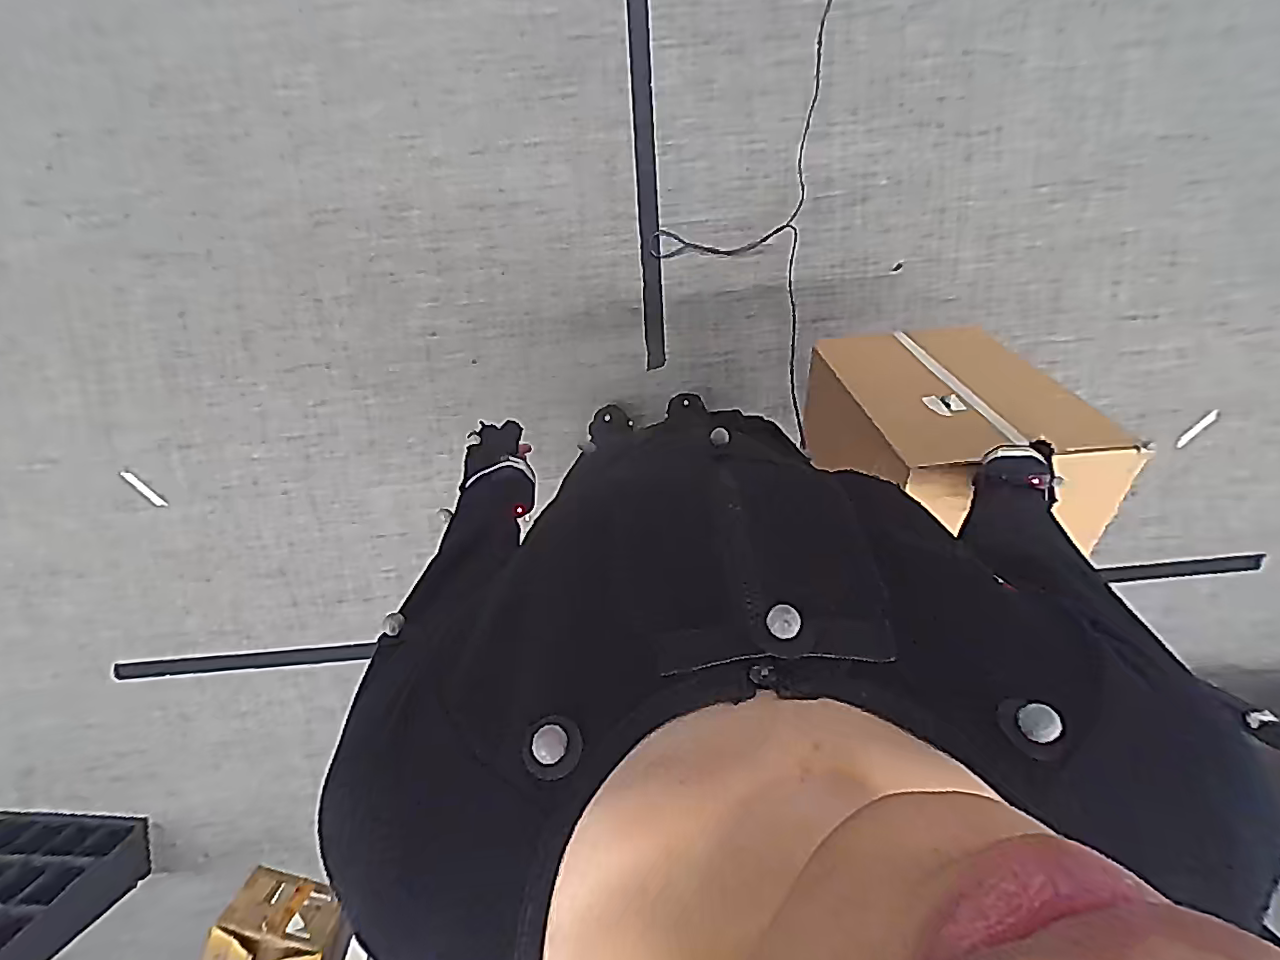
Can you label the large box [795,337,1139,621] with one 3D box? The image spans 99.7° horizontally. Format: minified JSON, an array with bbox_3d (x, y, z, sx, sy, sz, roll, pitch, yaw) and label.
[{"bbox_3d":[0.499,-0.018,0.953,0.320,0.408,0.320,-6,128,-1],"label":"large box"}]
